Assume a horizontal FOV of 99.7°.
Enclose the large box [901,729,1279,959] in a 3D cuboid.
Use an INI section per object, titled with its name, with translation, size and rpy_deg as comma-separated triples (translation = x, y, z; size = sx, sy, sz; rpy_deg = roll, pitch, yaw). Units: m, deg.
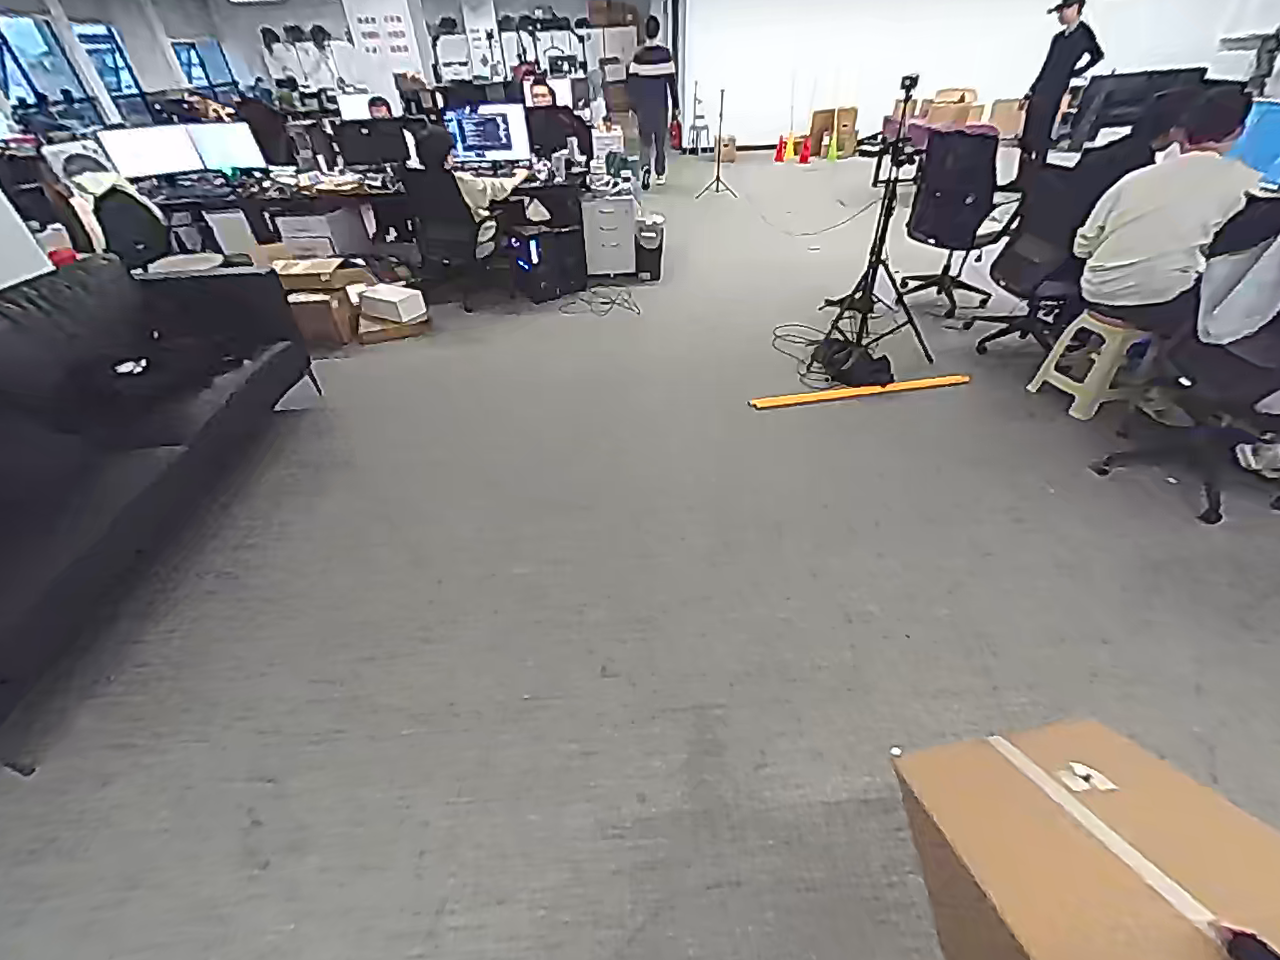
[large box]
translation = 0.577, 0.562, 0.640
size = 0.320, 0.320, 0.408
rpy_deg = -13, -1, 6
